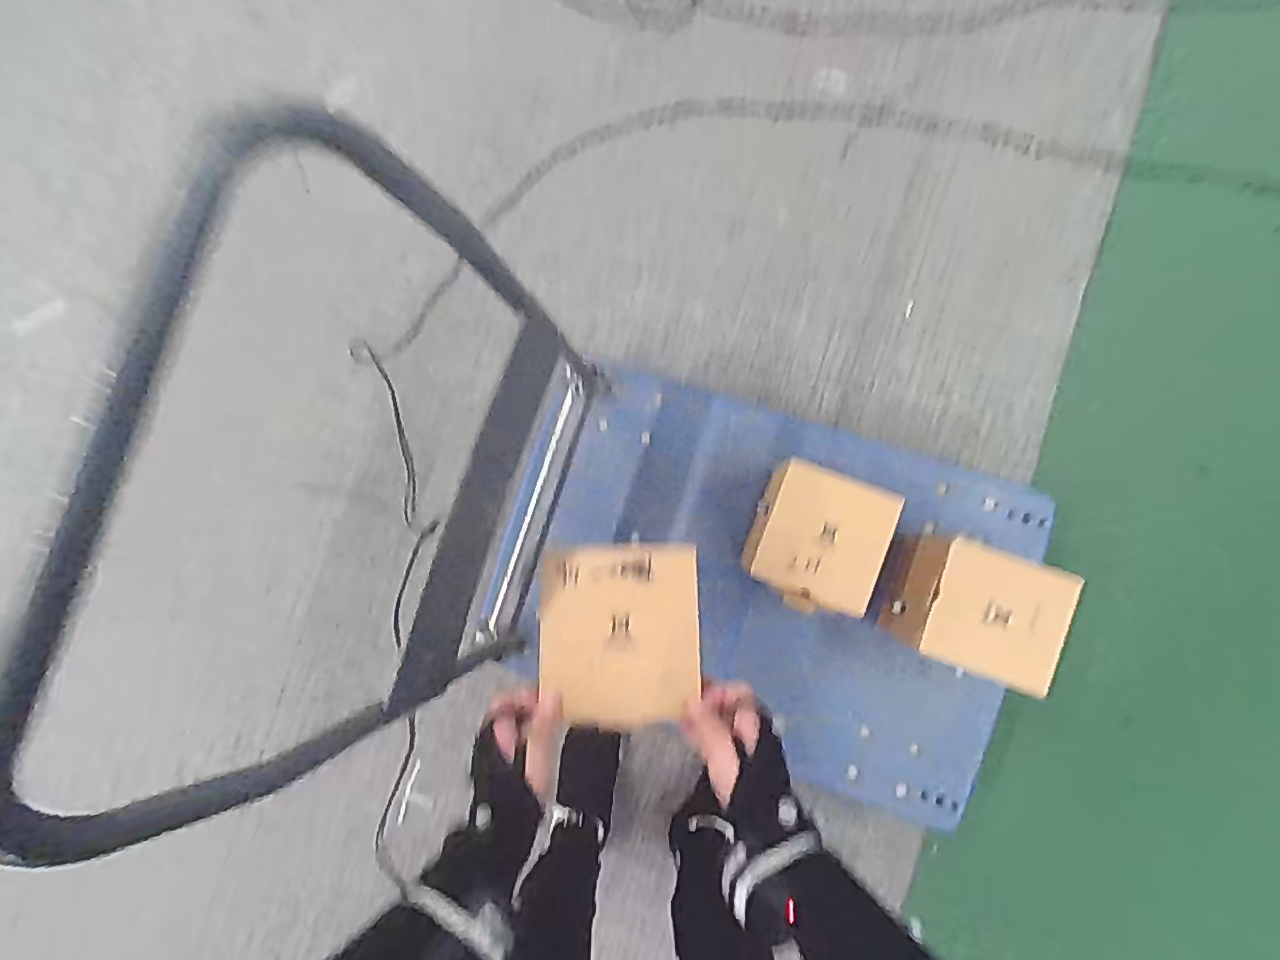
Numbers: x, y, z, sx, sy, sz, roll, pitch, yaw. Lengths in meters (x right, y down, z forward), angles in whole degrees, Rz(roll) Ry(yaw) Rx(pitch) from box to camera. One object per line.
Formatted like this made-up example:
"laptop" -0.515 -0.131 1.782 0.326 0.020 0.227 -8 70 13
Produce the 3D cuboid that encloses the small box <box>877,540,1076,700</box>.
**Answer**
"small box" 0.484 0.196 0.810 0.179 0.176 0.168 20 88 7

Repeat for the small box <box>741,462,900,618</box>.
"small box" 0.265 0.089 0.839 0.168 0.176 0.179 22 88 7

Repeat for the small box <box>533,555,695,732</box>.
"small box" -0.025 0.180 0.631 0.168 0.176 0.179 0 79 -1
